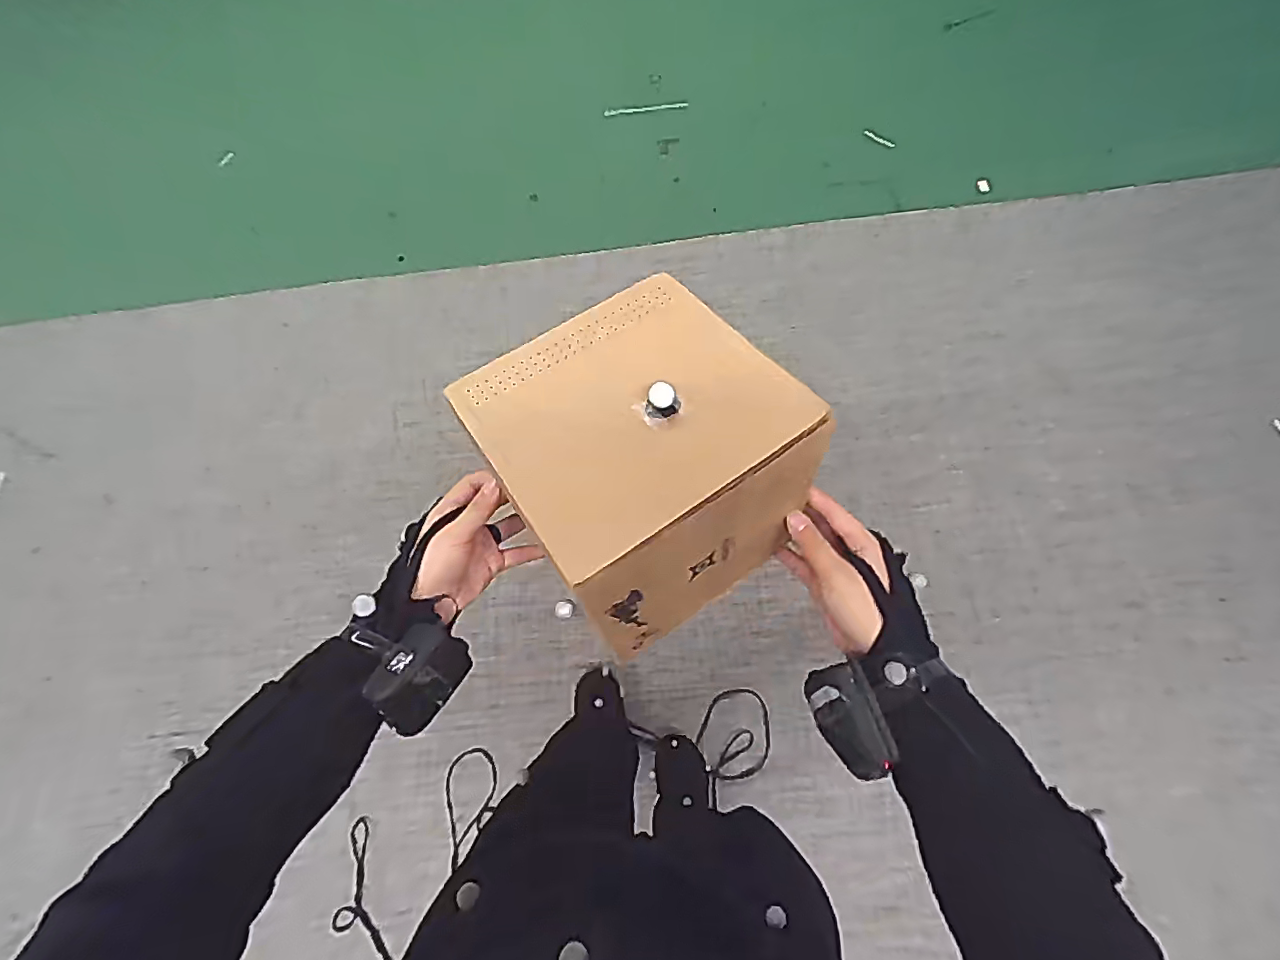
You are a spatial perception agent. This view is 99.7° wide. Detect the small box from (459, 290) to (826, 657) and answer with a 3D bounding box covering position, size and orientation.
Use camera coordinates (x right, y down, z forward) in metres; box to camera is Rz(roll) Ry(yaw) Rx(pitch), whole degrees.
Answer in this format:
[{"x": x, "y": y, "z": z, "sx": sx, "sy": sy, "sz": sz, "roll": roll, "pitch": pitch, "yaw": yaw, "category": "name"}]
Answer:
[{"x": 0.001, "y": -0.007, "z": 0.401, "sx": 0.179, "sy": 0.168, "sz": 0.176, "roll": -34, "pitch": 60, "yaw": -14, "category": "small box"}]
